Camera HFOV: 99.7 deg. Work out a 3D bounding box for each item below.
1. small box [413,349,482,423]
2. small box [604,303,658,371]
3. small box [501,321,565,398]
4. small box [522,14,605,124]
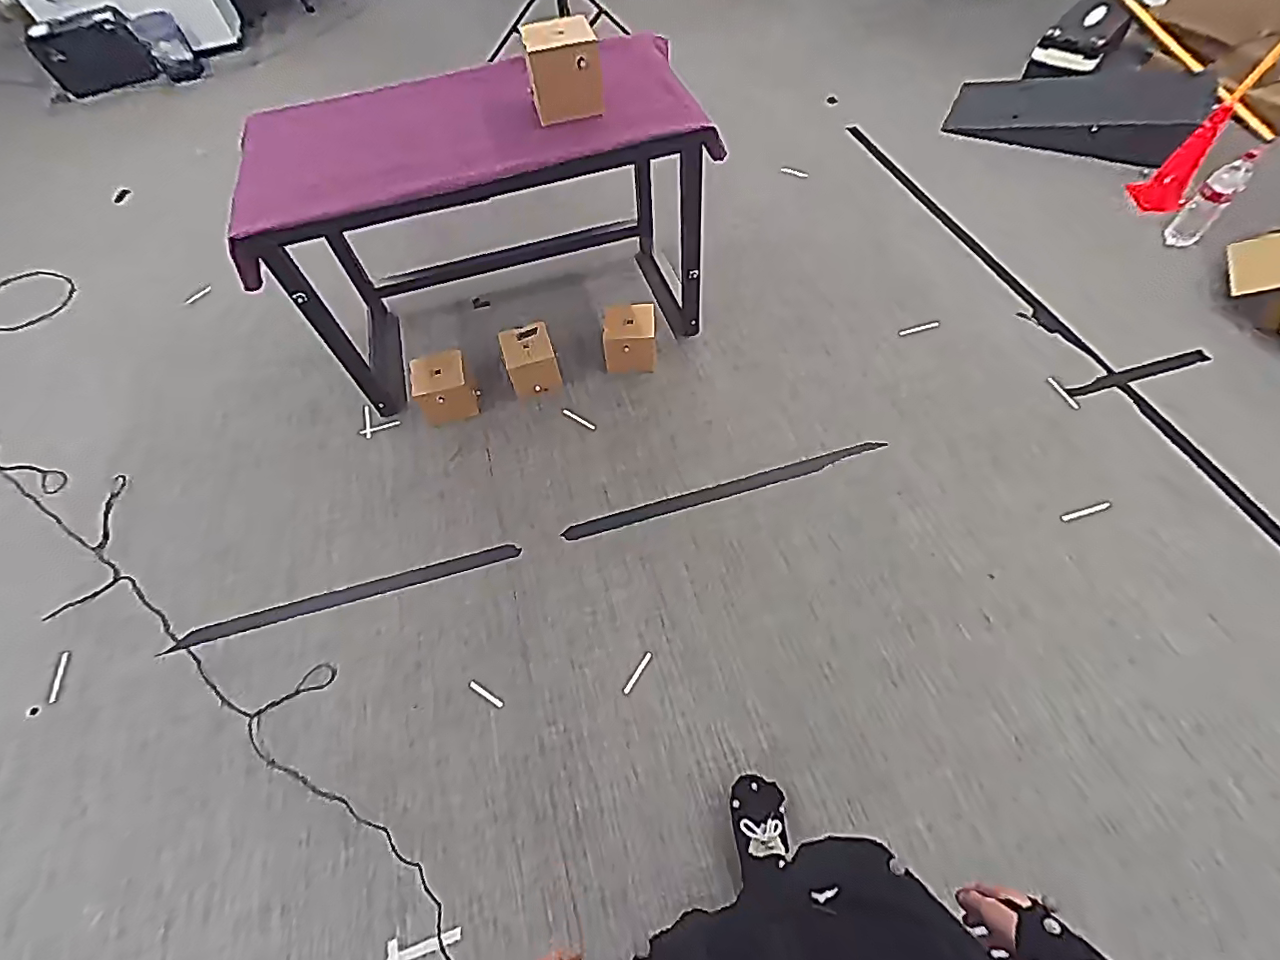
[{"bbox_3d":[-0.658,-0.316,1.853,0.179,0.176,0.168,-14,60,-4],"label":"small box"},{"bbox_3d":[-0.025,-0.502,1.910,0.179,0.176,0.168,-2,60,5],"label":"small box"},{"bbox_3d":[-0.371,-0.416,1.887,0.168,0.176,0.179,-17,60,-5],"label":"small box"},{"bbox_3d":[-0.194,-1.067,1.409,0.179,0.176,0.168,-15,58,-3],"label":"small box"}]
